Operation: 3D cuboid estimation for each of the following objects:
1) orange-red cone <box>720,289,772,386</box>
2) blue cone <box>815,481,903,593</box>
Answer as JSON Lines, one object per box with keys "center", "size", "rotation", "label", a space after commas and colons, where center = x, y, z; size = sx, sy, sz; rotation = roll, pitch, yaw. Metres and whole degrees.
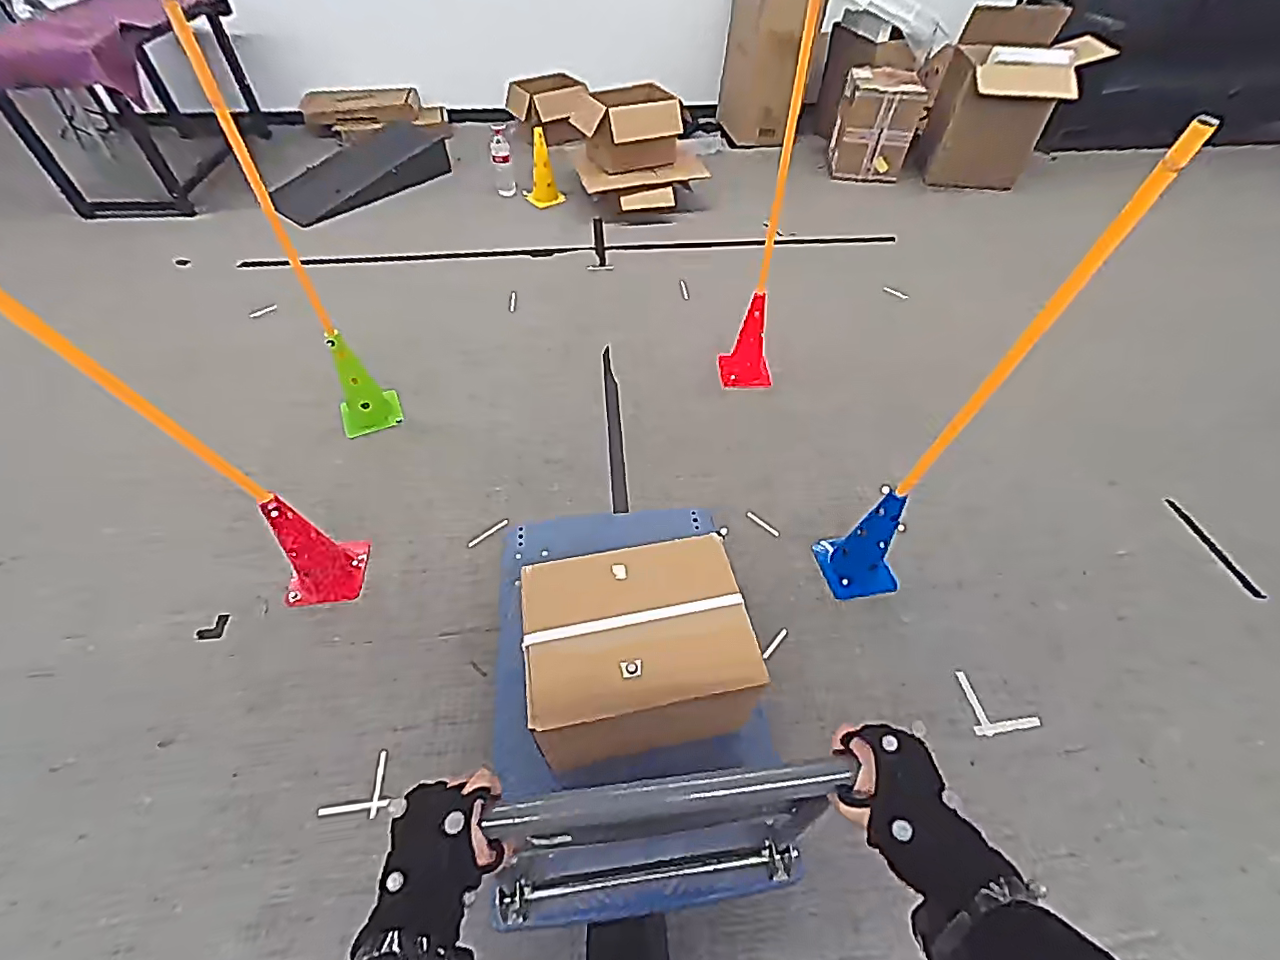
{"center": [0.429, -0.553, 2.041], "size": [0.199, 0.360, 0.198], "rotation": [2, 51, -1], "label": "orange-red cone"}
{"center": [0.644, 0.143, 1.494], "size": [0.193, 0.380, 0.192], "rotation": [-7, 50, -7], "label": "blue cone"}
